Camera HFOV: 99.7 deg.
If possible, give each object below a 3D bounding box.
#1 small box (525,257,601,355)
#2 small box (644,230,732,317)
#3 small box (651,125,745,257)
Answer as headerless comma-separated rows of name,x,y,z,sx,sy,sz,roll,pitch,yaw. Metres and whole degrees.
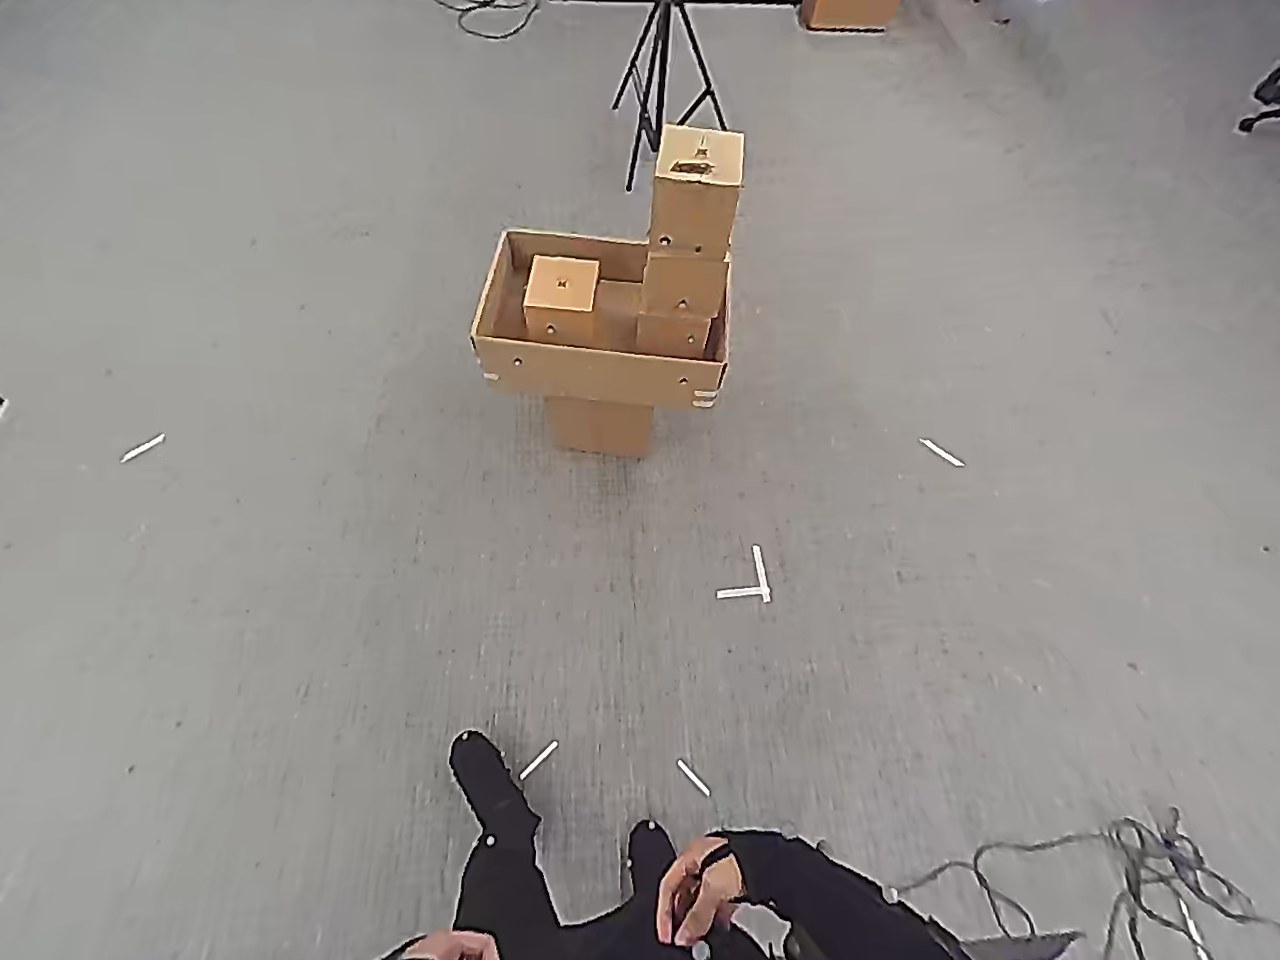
small box,-0.191,-0.442,1.393,0.168,0.176,0.179,5,62,-1
small box,0.107,-0.498,1.250,0.179,0.176,0.168,4,63,-2
small box,0.116,-0.586,1.110,0.168,0.176,0.179,8,62,1
